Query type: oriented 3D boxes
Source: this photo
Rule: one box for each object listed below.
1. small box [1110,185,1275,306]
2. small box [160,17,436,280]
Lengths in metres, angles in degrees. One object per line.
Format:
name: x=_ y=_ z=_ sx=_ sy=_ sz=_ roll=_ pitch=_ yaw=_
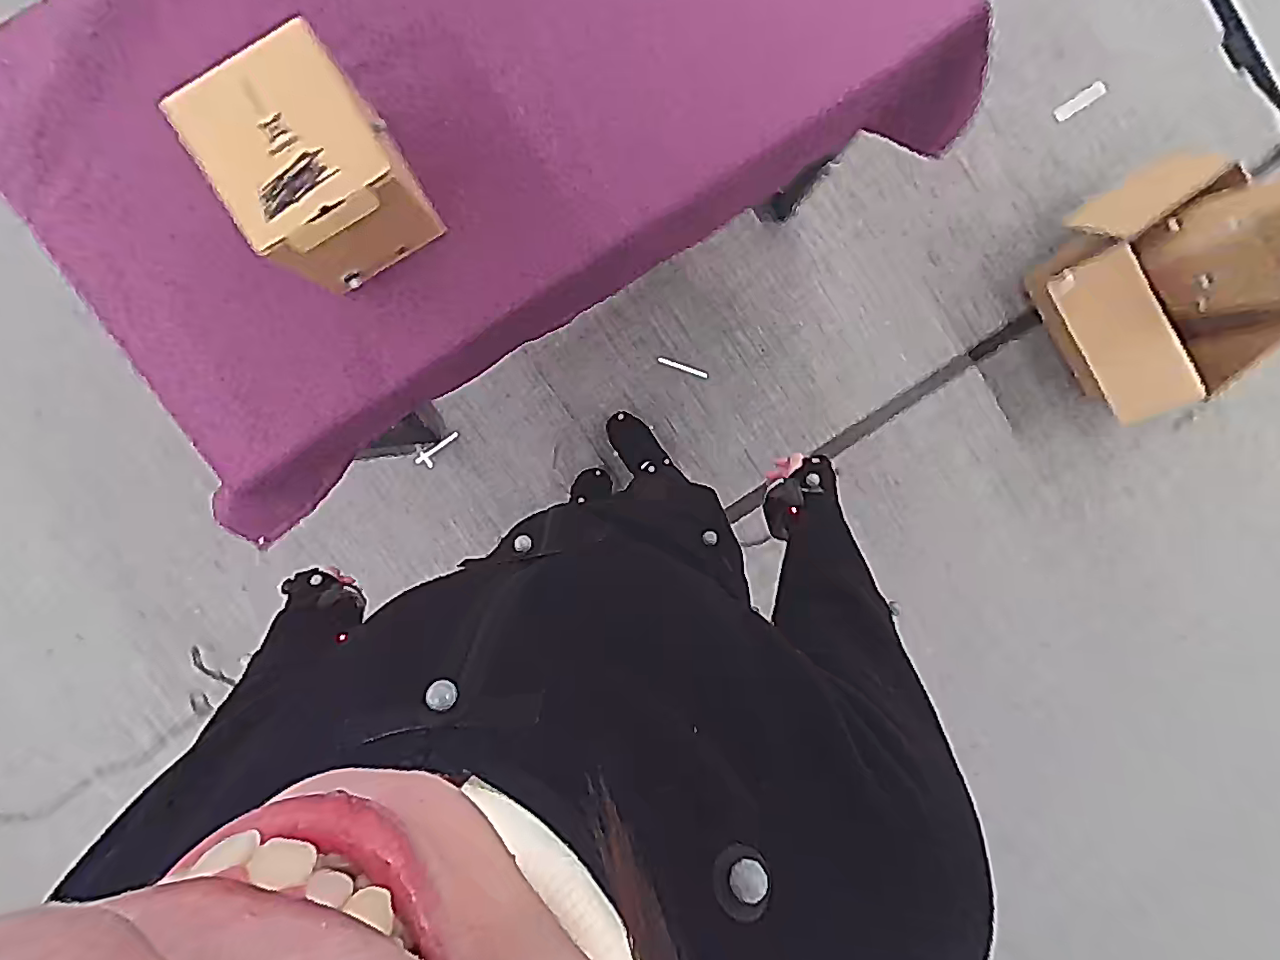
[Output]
small box: x=1.238 y=-0.517 z=1.224 sx=0.179 sy=0.176 sz=0.168 roll=34 pitch=97 yaw=-8
small box: x=-0.369 y=-0.354 z=0.625 sx=0.168 sy=0.176 sz=0.179 roll=-31 pitch=95 yaw=1
